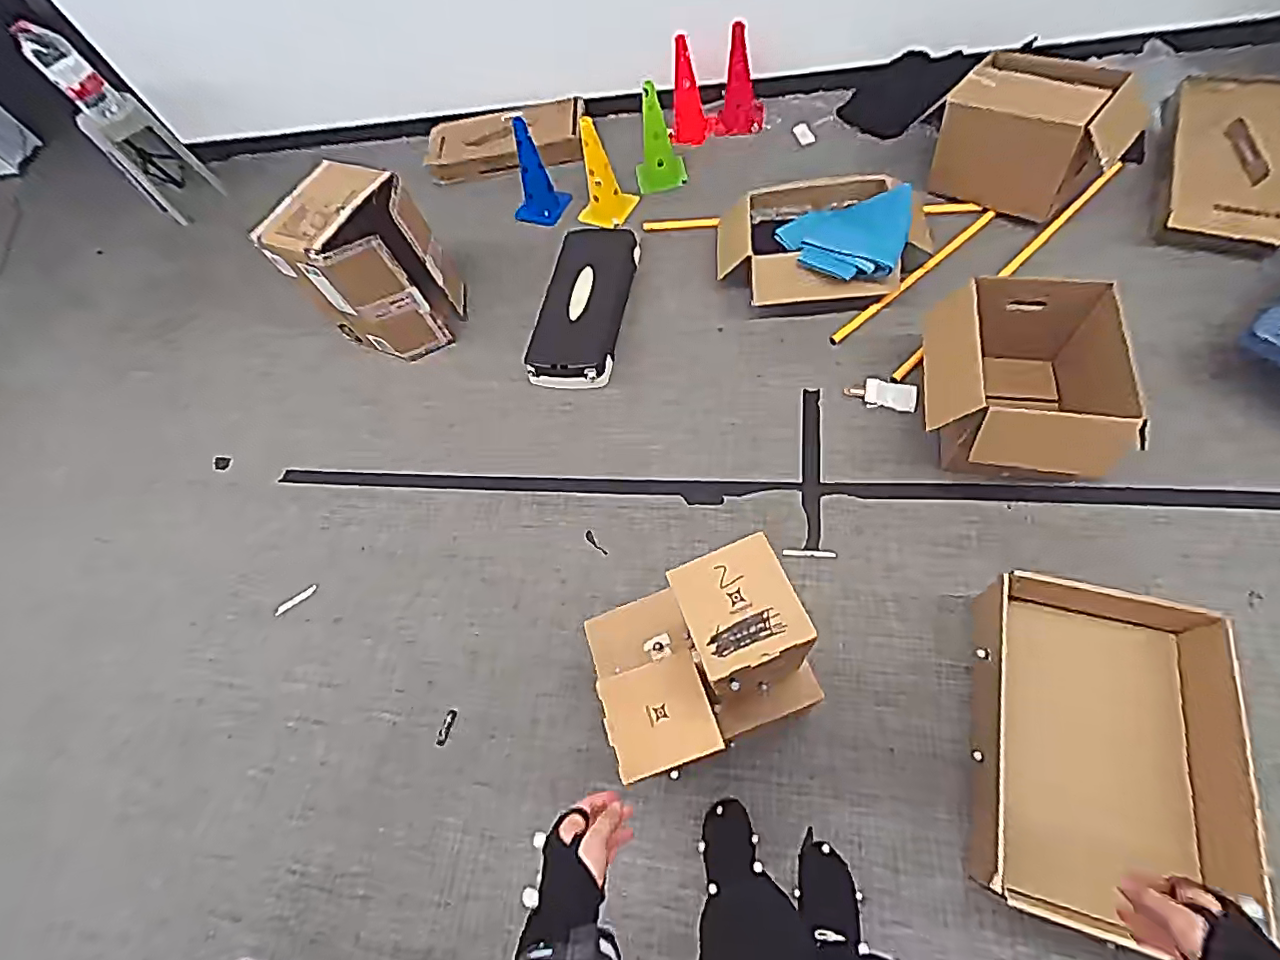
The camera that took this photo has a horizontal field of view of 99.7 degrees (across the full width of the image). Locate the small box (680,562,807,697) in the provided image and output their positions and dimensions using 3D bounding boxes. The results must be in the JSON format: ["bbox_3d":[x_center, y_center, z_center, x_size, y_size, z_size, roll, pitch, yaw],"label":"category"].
[{"bbox_3d":[0.186,0.281,0.999,0.168,0.176,0.179,-24,62,0],"label":"small box"}]

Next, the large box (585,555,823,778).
[{"bbox_3d":[0.141,0.423,1.215,0.408,0.320,0.320,-23,61,0],"label":"large box"}]
